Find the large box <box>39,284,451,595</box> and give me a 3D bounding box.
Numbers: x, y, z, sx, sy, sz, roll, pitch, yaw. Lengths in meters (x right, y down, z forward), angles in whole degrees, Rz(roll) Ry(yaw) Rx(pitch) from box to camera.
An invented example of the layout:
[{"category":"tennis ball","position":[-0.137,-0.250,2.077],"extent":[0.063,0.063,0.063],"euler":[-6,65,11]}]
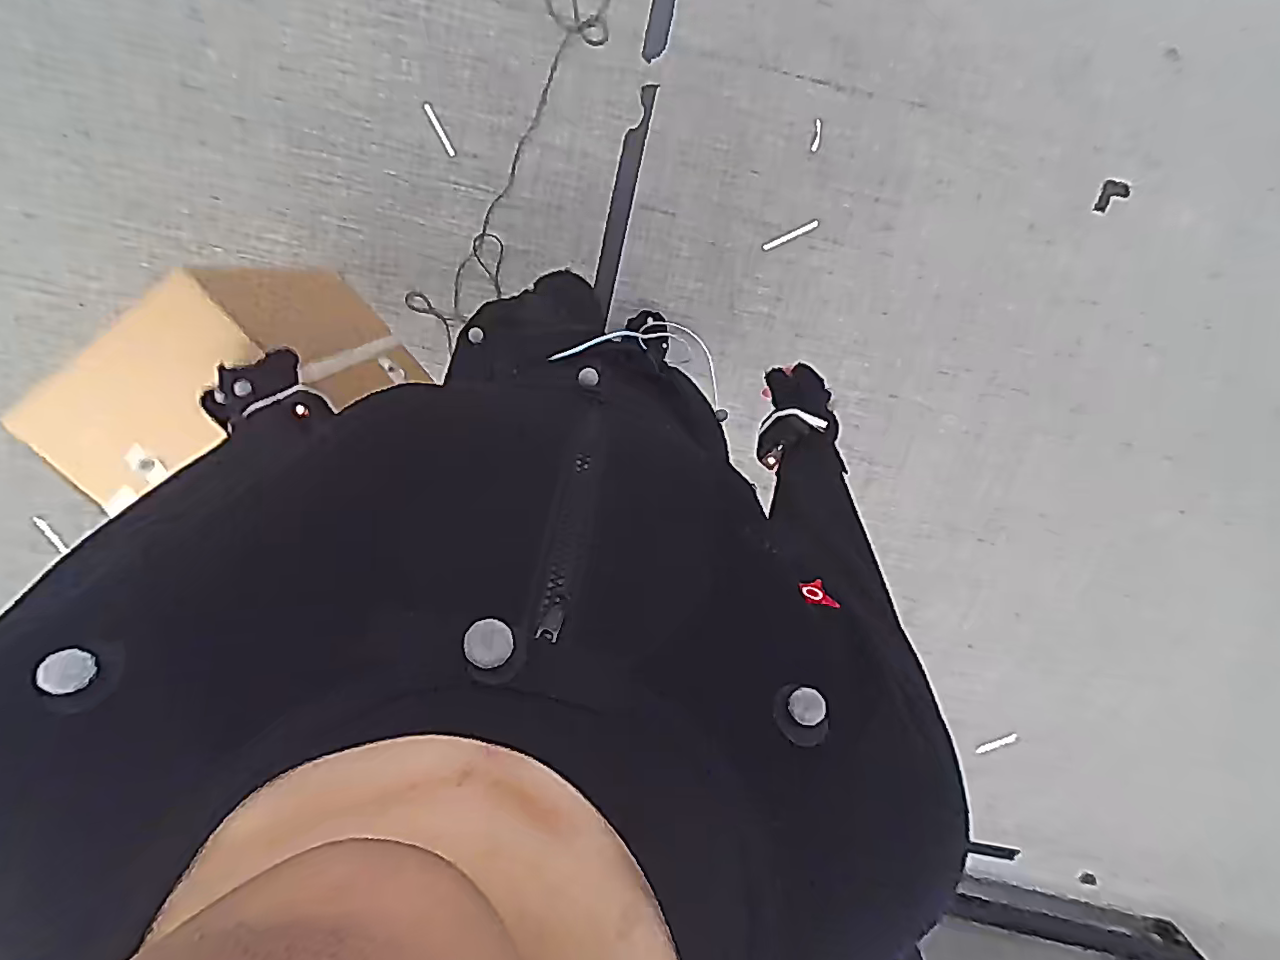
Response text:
[{"category":"large box","position":[-0.573,-0.093,0.885],"extent":[0.320,0.408,0.320],"euler":[-36,109,8]}]
